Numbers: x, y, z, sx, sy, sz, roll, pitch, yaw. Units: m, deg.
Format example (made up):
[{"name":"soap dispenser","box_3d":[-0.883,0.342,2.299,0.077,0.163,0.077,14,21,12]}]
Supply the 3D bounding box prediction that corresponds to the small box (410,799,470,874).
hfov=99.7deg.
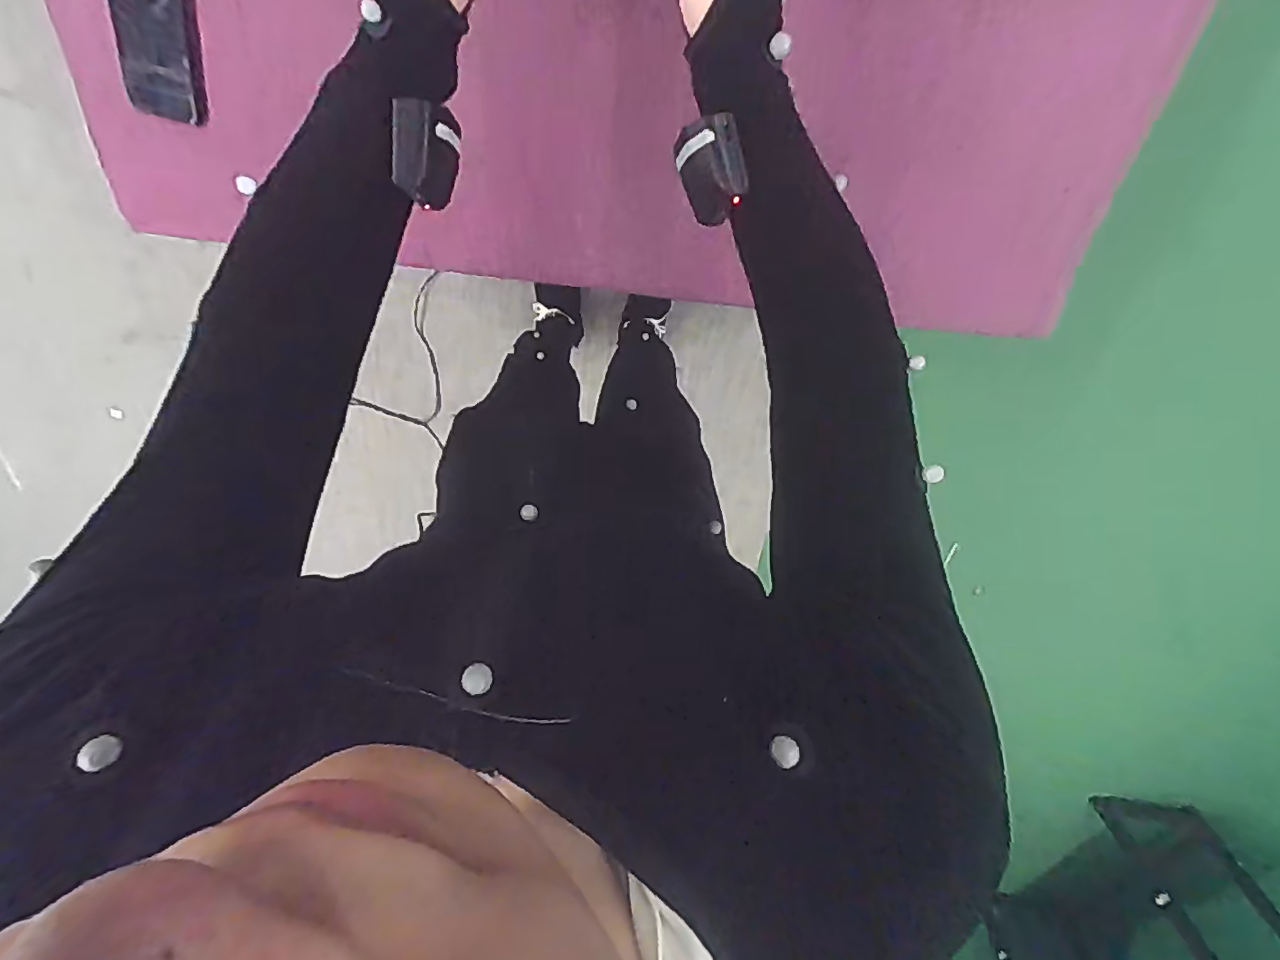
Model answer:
[{"name":"small box","box_3d":[-0.733,1.311,1.984,0.168,0.176,0.179,13,120,-6]}]
